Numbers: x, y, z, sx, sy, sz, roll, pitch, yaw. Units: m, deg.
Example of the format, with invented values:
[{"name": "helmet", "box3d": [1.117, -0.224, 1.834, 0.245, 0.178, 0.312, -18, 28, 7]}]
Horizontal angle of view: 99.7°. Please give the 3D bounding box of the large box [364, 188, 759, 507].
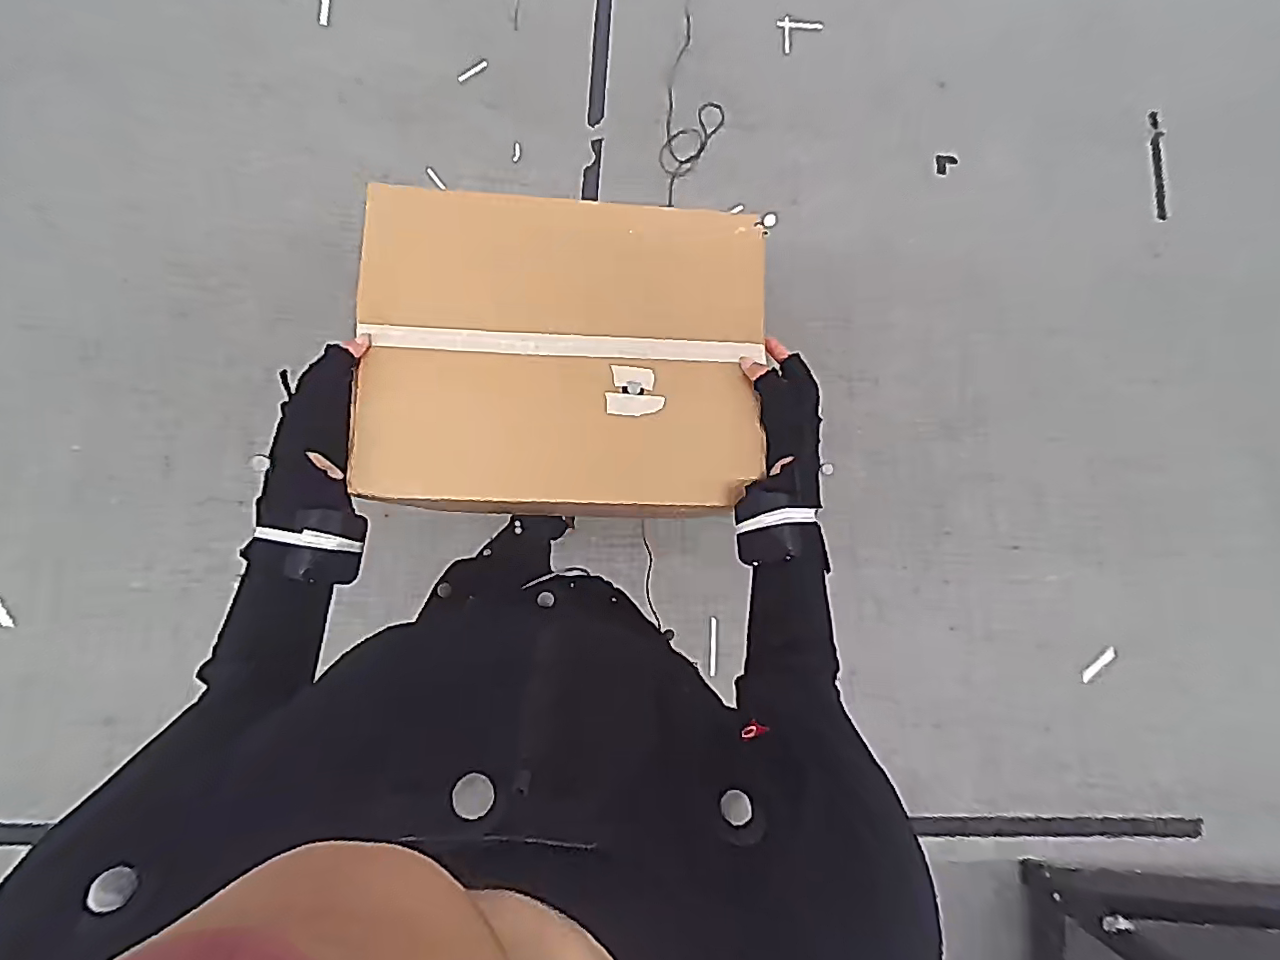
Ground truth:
[{"name": "large box", "box3d": [-0.088, -0.129, 0.705, 0.408, 0.320, 0.320, 2, 85, -6]}]
